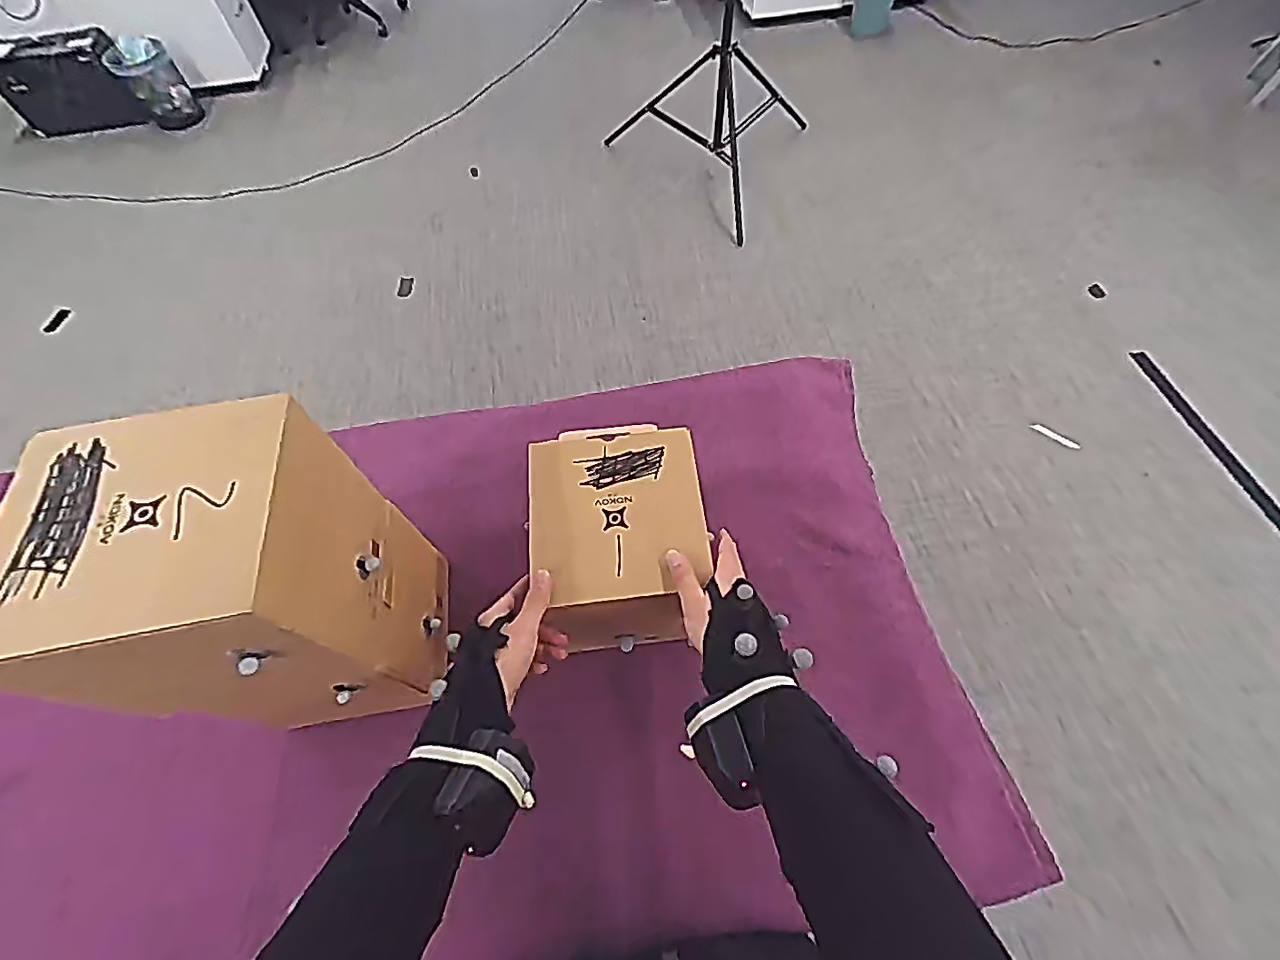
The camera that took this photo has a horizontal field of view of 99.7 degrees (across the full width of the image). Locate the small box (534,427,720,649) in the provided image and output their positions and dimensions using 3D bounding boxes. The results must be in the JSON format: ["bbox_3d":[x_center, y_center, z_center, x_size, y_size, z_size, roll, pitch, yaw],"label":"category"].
[{"bbox_3d":[-0.016,0.067,0.579,0.168,0.176,0.179,-6,60,-1],"label":"small box"}]

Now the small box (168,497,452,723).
[{"bbox_3d":[-0.309,0.140,0.552,0.179,0.176,0.168,-9,59,-4],"label":"small box"}]
